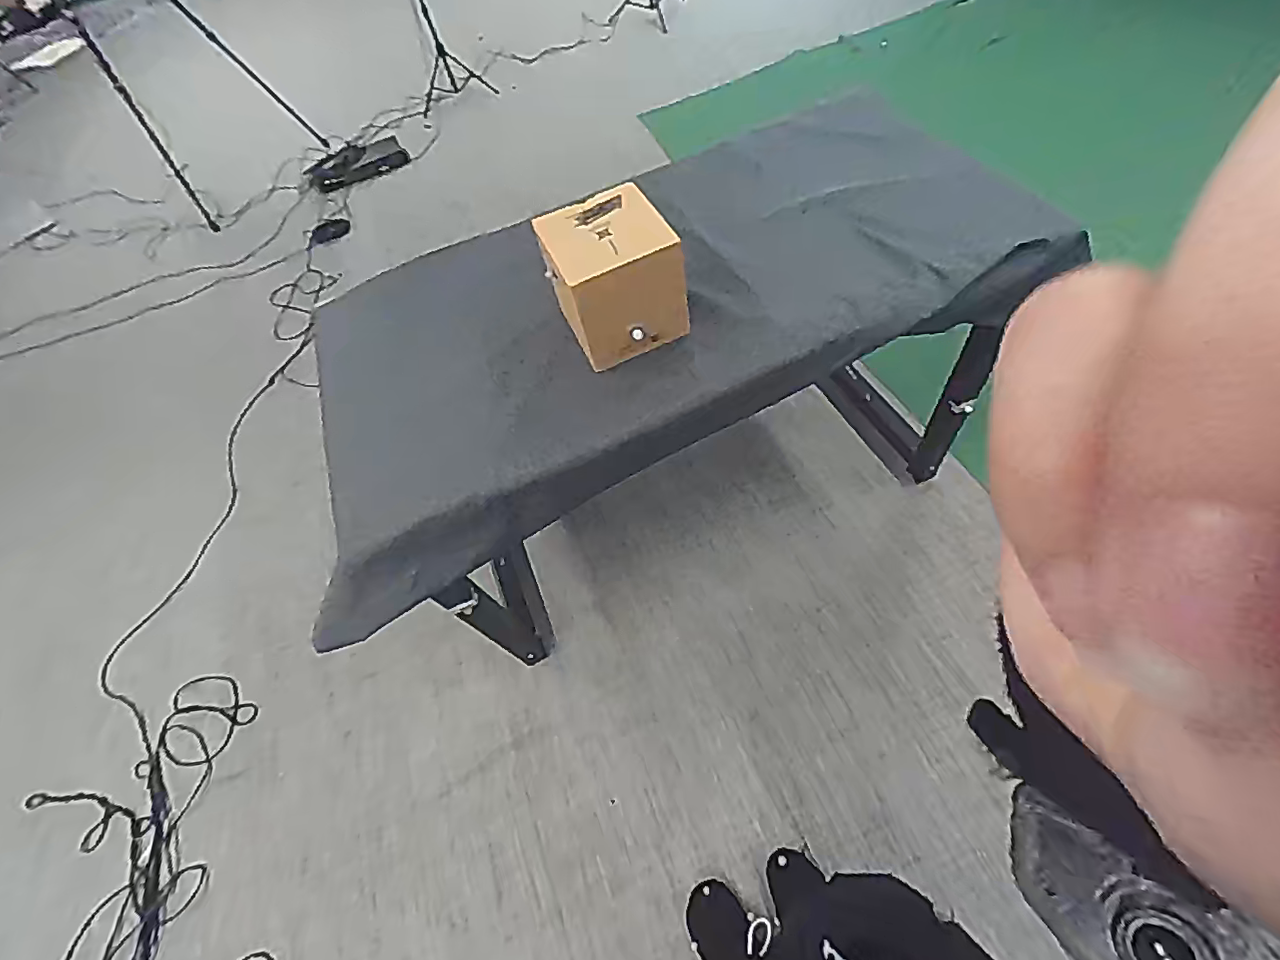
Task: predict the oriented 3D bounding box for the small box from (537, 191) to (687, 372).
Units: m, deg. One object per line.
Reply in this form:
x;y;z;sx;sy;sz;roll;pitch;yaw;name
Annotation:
-0.038;-0.302;0.836;0.168;0.176;0.179;-24;57;-5;small box
